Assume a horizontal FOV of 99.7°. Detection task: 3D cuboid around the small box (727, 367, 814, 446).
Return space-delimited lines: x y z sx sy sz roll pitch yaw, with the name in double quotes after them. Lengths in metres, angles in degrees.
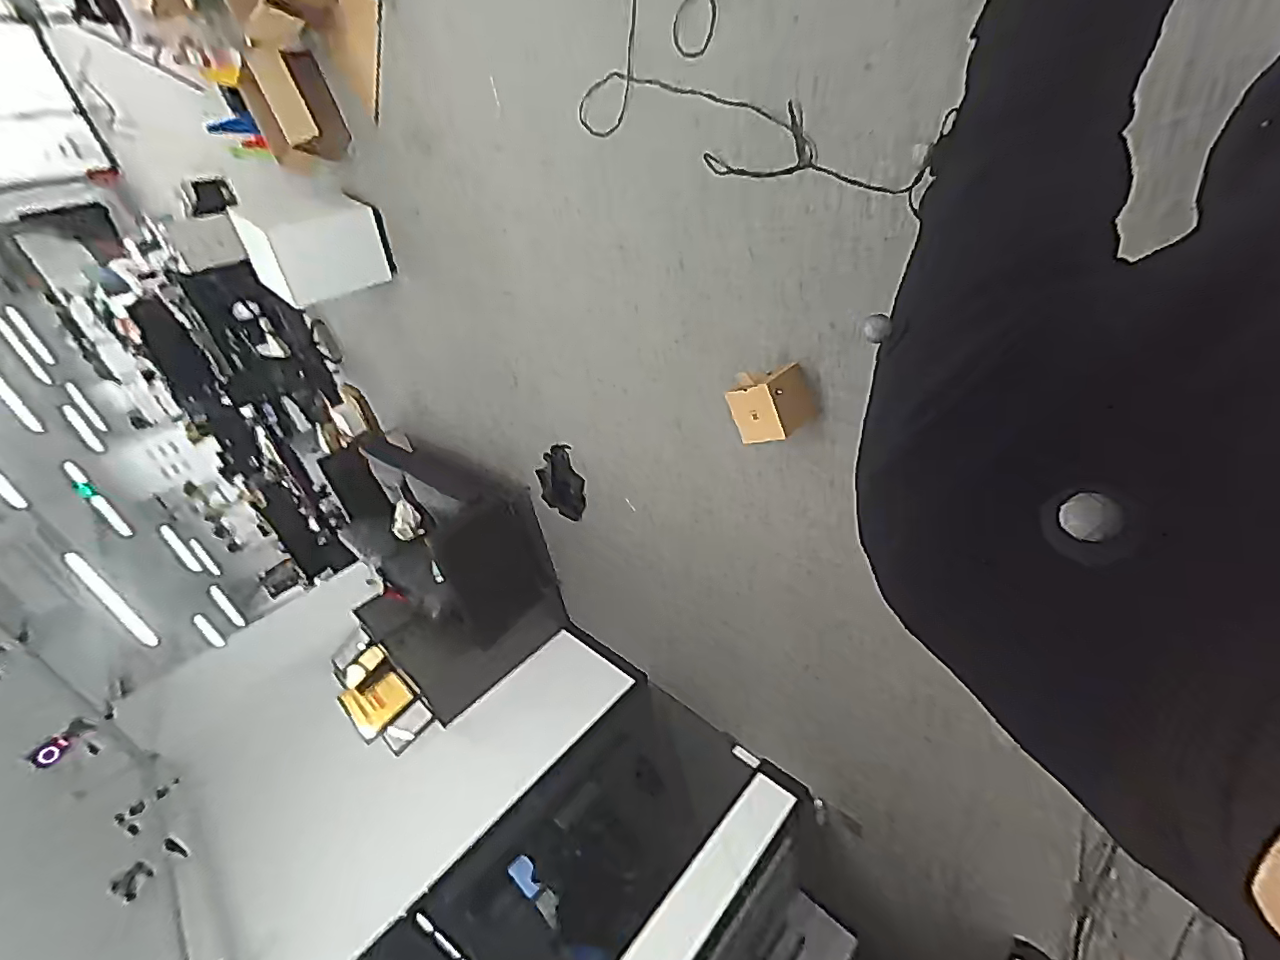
0.400 -0.220 1.636 0.168 0.176 0.179 -3 115 53 "small box"
